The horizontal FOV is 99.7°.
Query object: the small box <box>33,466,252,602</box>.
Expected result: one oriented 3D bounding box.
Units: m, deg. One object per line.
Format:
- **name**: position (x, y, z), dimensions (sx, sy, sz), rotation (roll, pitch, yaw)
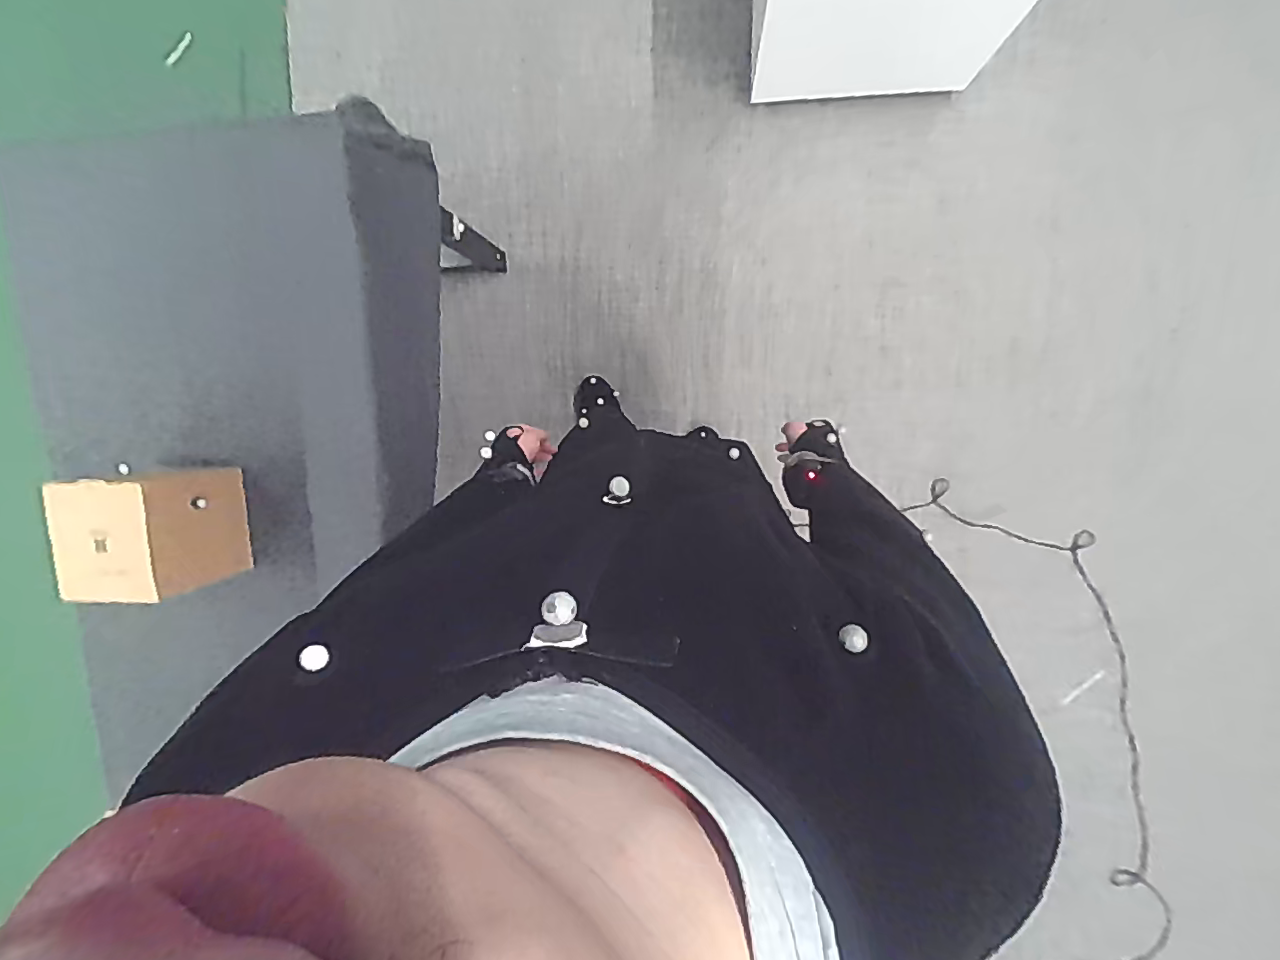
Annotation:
- **small box**: position (-0.745, 0.073, 0.831), dimensions (0.168, 0.176, 0.179), rotation (-1, 101, 7)
